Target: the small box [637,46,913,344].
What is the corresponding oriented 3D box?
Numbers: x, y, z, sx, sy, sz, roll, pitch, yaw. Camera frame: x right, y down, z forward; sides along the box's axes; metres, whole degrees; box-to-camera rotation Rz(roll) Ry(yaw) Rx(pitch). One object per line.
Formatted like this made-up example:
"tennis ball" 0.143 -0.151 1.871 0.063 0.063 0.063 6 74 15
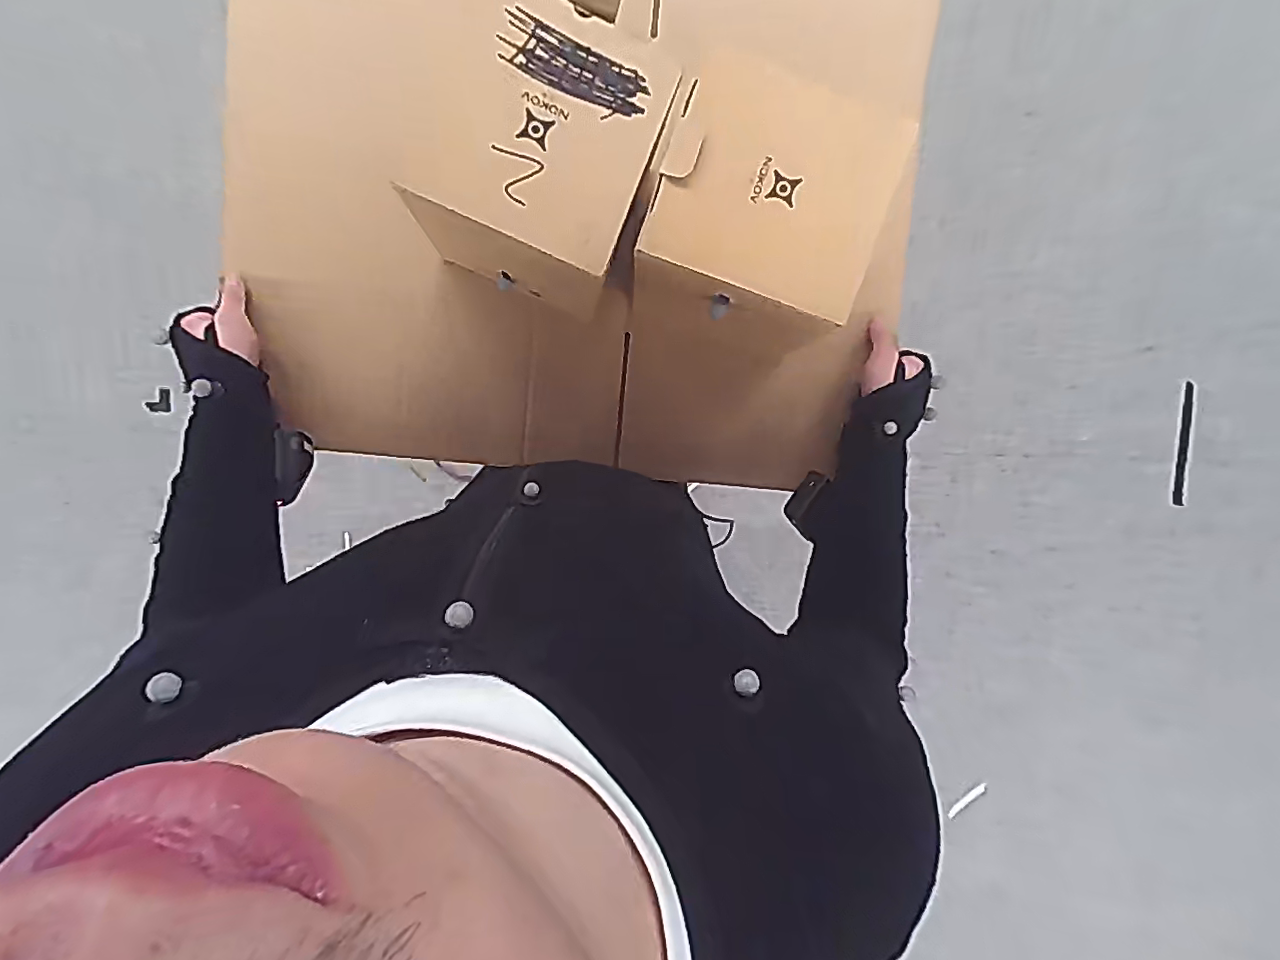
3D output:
"small box" 0.105 -0.237 0.504 0.179 0.176 0.168 20 94 -1
